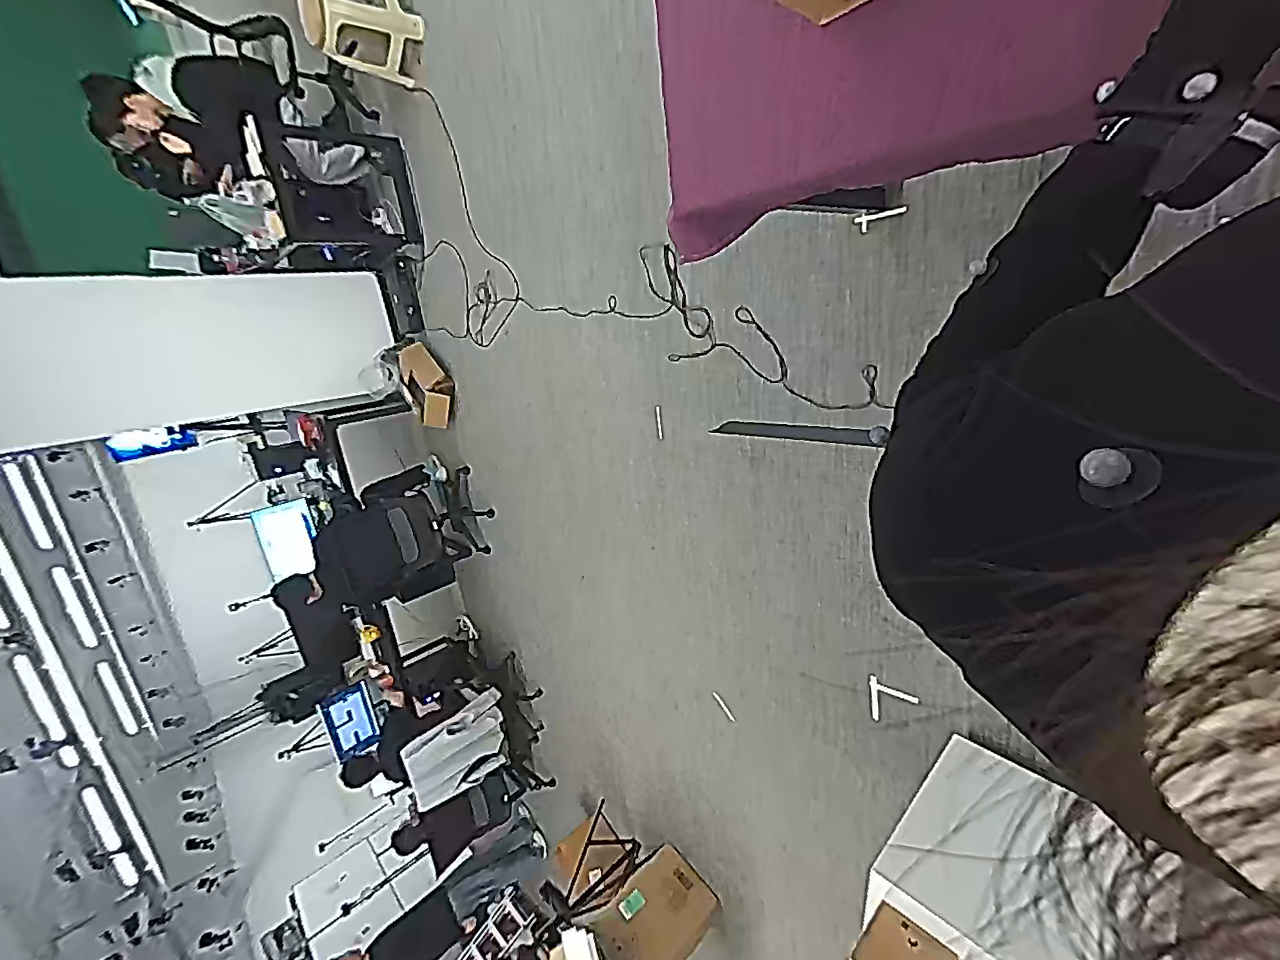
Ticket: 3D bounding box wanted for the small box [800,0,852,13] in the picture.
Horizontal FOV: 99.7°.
[{"bbox_3d":[0.225,-0.666,0.589,0.168,0.176,0.179,10,114,46],"label":"small box"}]
